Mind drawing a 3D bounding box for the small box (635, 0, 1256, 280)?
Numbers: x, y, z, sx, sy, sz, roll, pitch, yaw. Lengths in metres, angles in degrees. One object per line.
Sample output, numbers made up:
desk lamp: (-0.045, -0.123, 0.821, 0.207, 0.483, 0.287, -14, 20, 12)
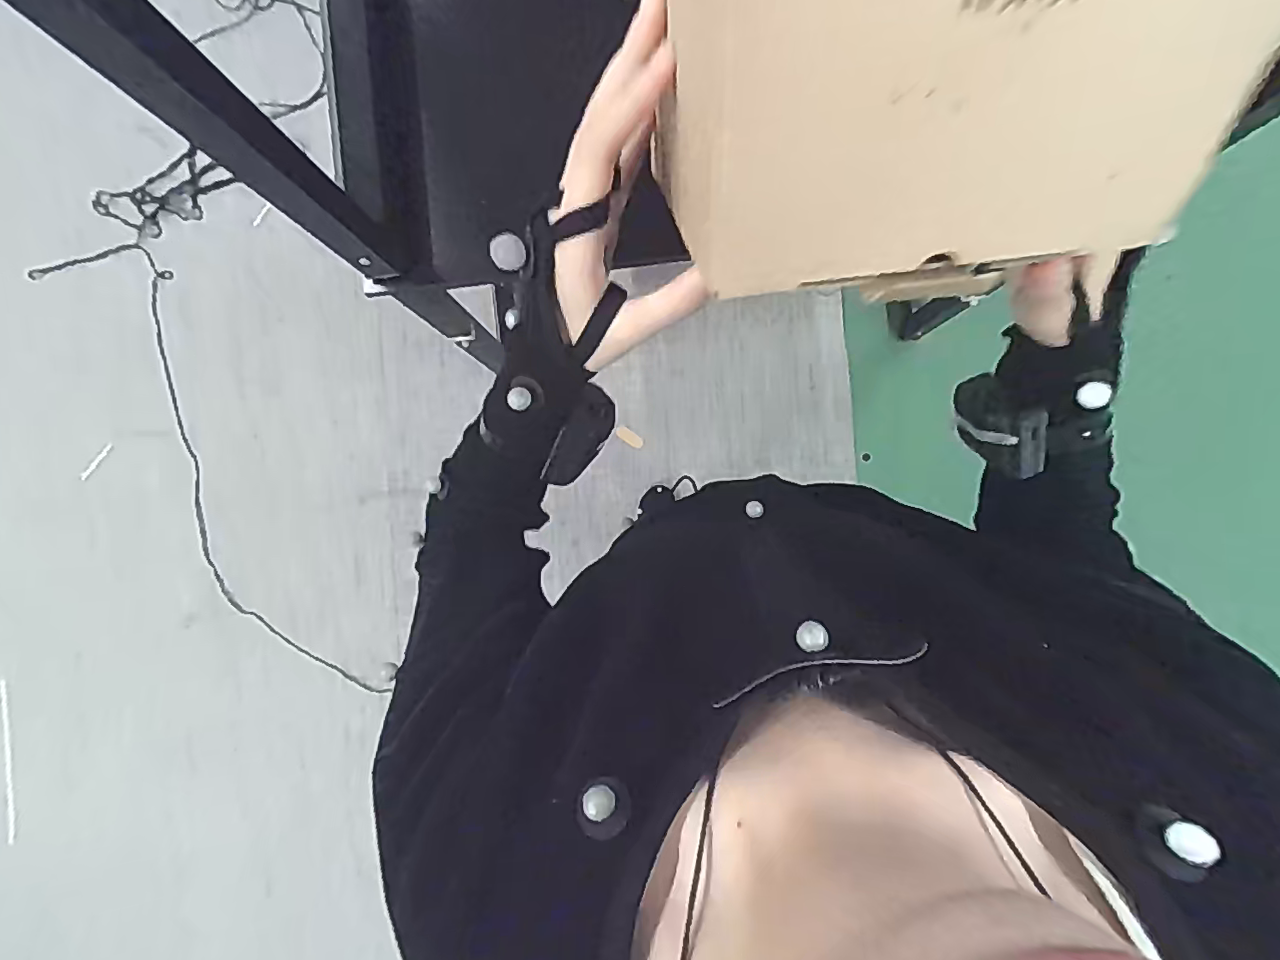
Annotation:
small box: (0.087, -0.199, 0.198, 0.168, 0.179, 0.176, -7, 45, -2)
